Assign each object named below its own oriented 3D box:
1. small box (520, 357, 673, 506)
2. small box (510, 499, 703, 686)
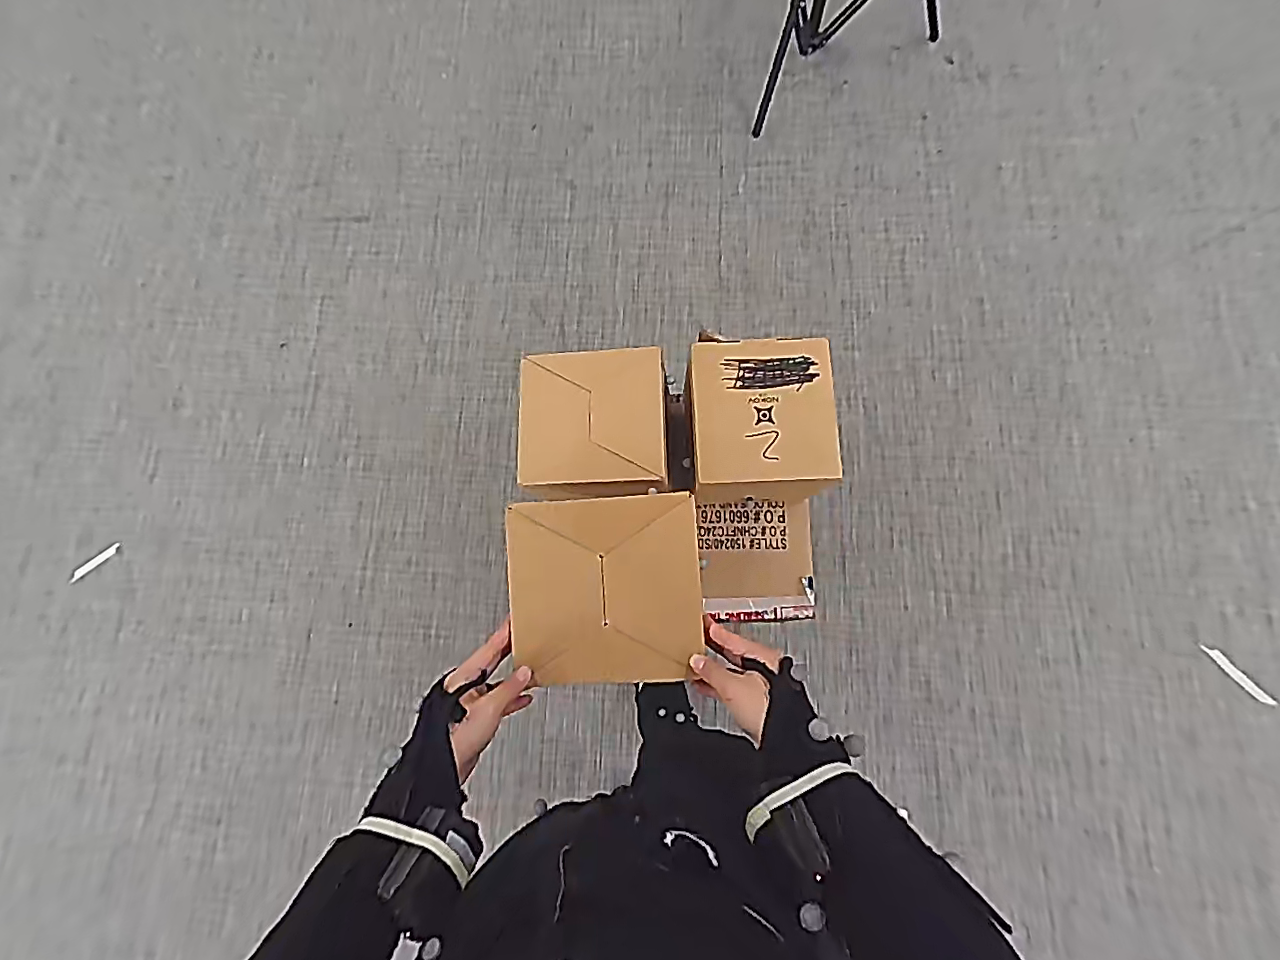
[{"bbox_3d":[-0.049,-0.056,0.728,0.179,0.176,0.168,-2,78,6],"label":"small box"},{"bbox_3d":[-0.030,0.109,0.574,0.179,0.176,0.168,-4,86,4],"label":"small box"}]
